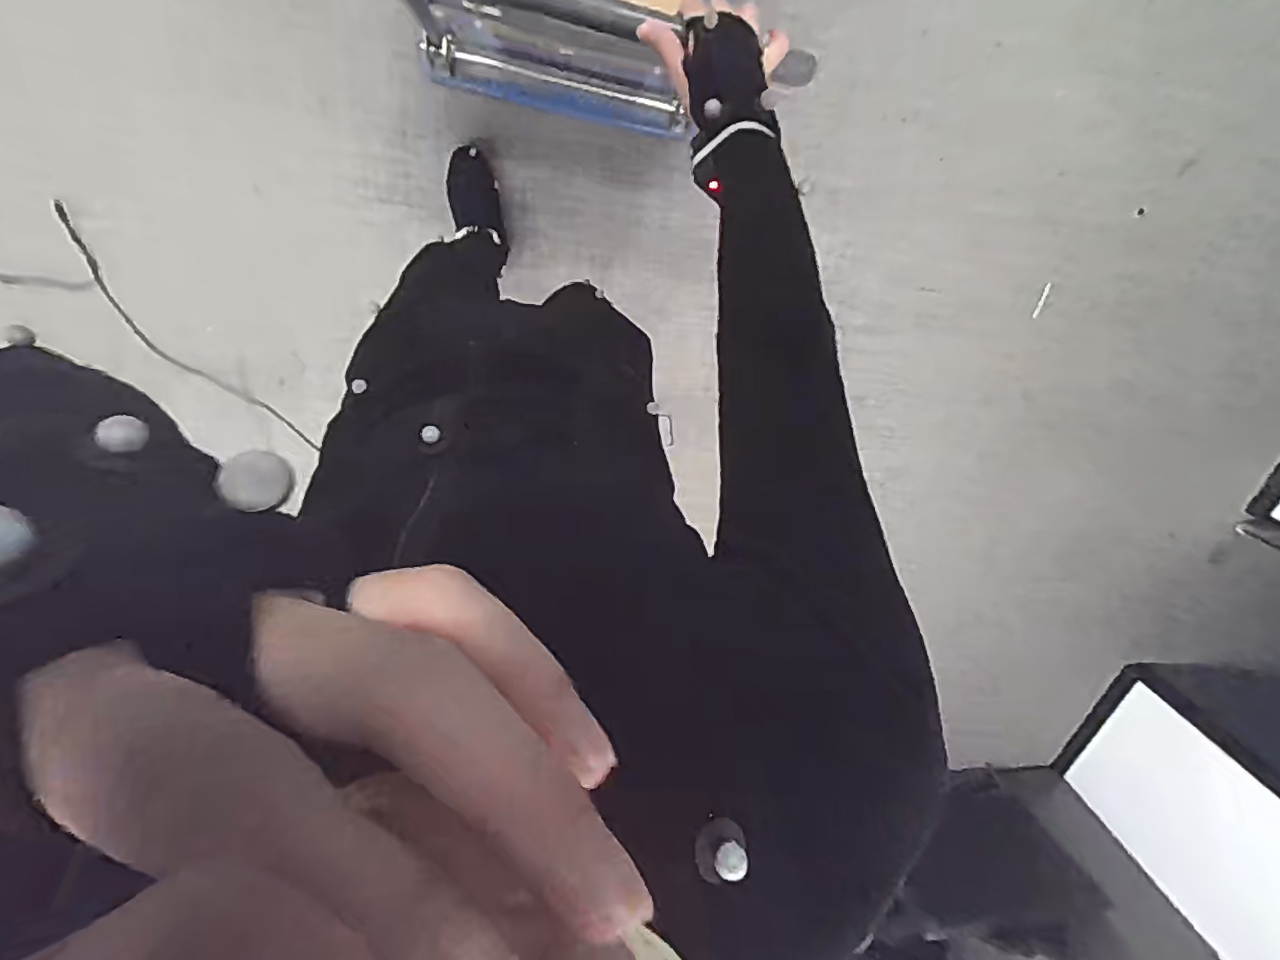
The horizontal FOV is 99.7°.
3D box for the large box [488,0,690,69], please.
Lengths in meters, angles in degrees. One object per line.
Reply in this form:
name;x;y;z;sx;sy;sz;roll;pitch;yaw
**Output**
large box;-0.071;-0.939;0.842;0.320;0.320;0.408;5;117;-13
